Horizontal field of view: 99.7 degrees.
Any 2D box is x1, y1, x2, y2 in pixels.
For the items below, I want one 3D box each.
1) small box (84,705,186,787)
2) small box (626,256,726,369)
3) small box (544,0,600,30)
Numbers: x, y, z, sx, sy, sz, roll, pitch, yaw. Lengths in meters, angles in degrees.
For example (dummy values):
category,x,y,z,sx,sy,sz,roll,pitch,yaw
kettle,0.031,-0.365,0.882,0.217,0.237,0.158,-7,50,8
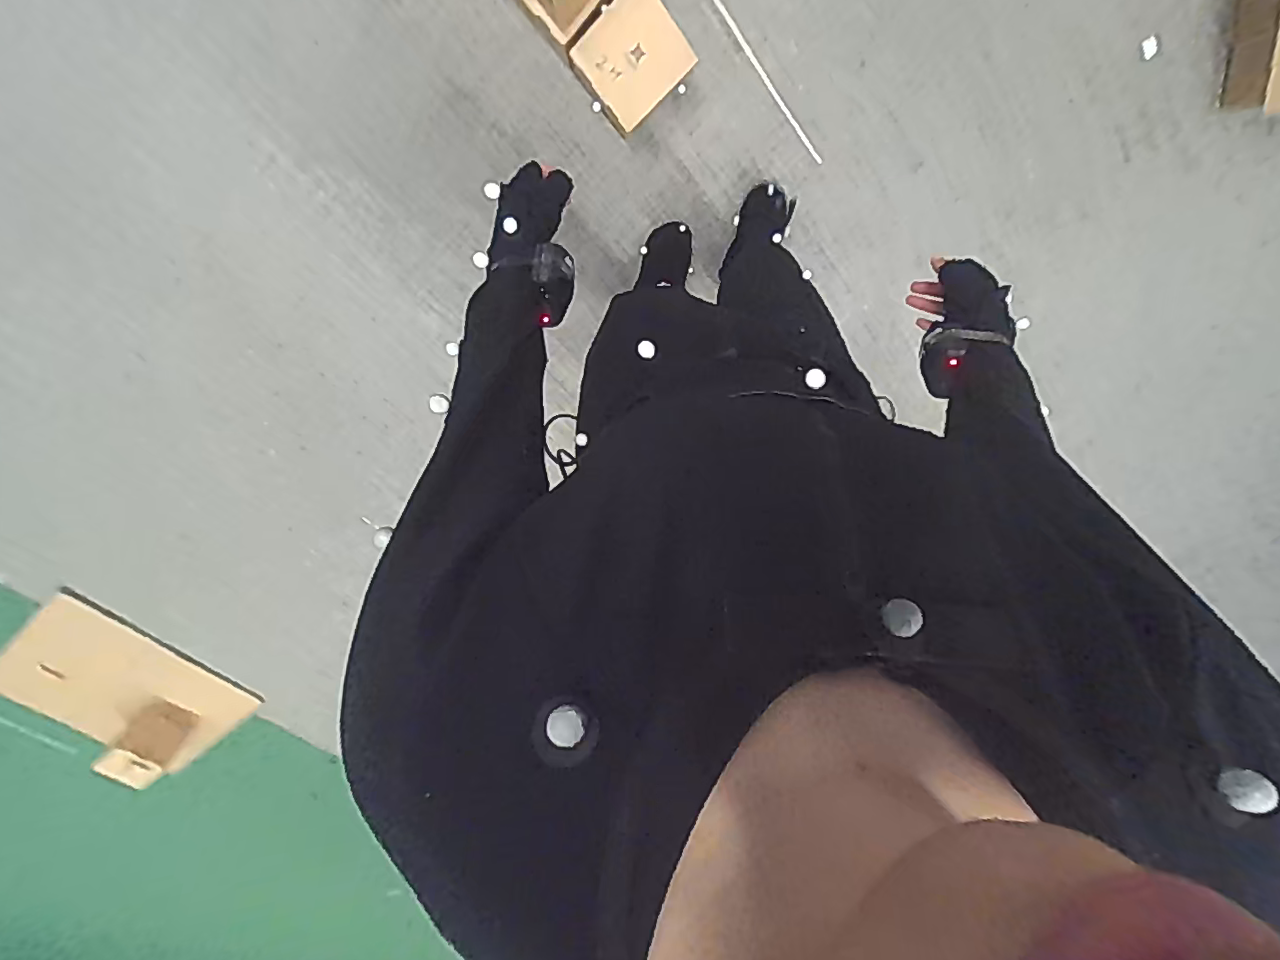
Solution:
category,x,y,z,sx,sy,sz,roll,pitch,yaw
small box,-1.737,0.917,1.874,0.179,0.176,0.168,-35,115,16
small box,0.077,-0.404,1.297,0.168,0.176,0.179,25,118,-22
small box,-0.110,-0.858,0.833,0.179,0.176,0.168,-40,112,17
